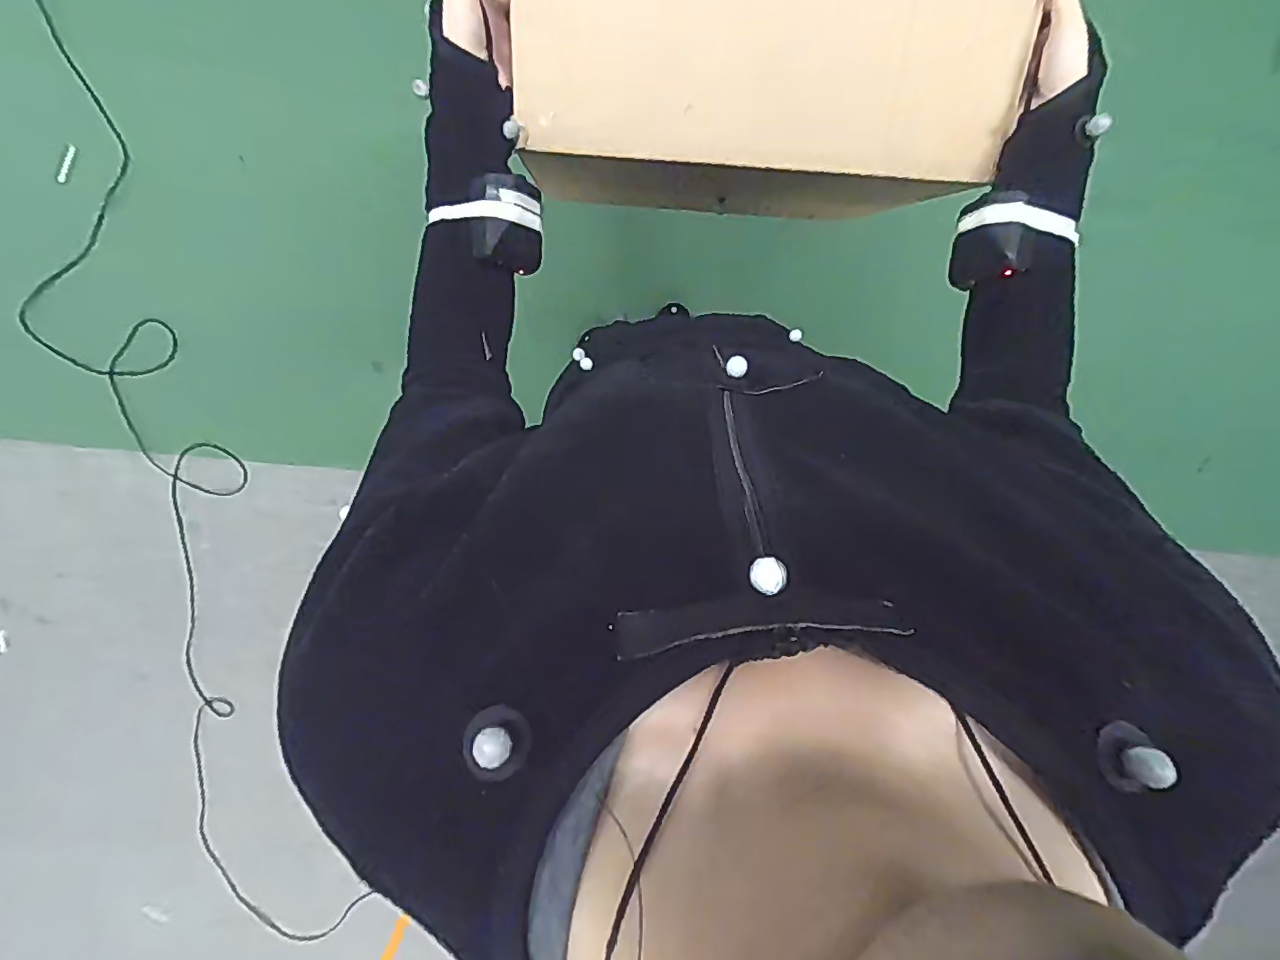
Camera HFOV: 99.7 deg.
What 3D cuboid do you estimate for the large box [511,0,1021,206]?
[{"bbox_3d":[0.096,-0.462,0.537,0.408,0.320,0.320,1,110,-4],"label":"large box"}]
